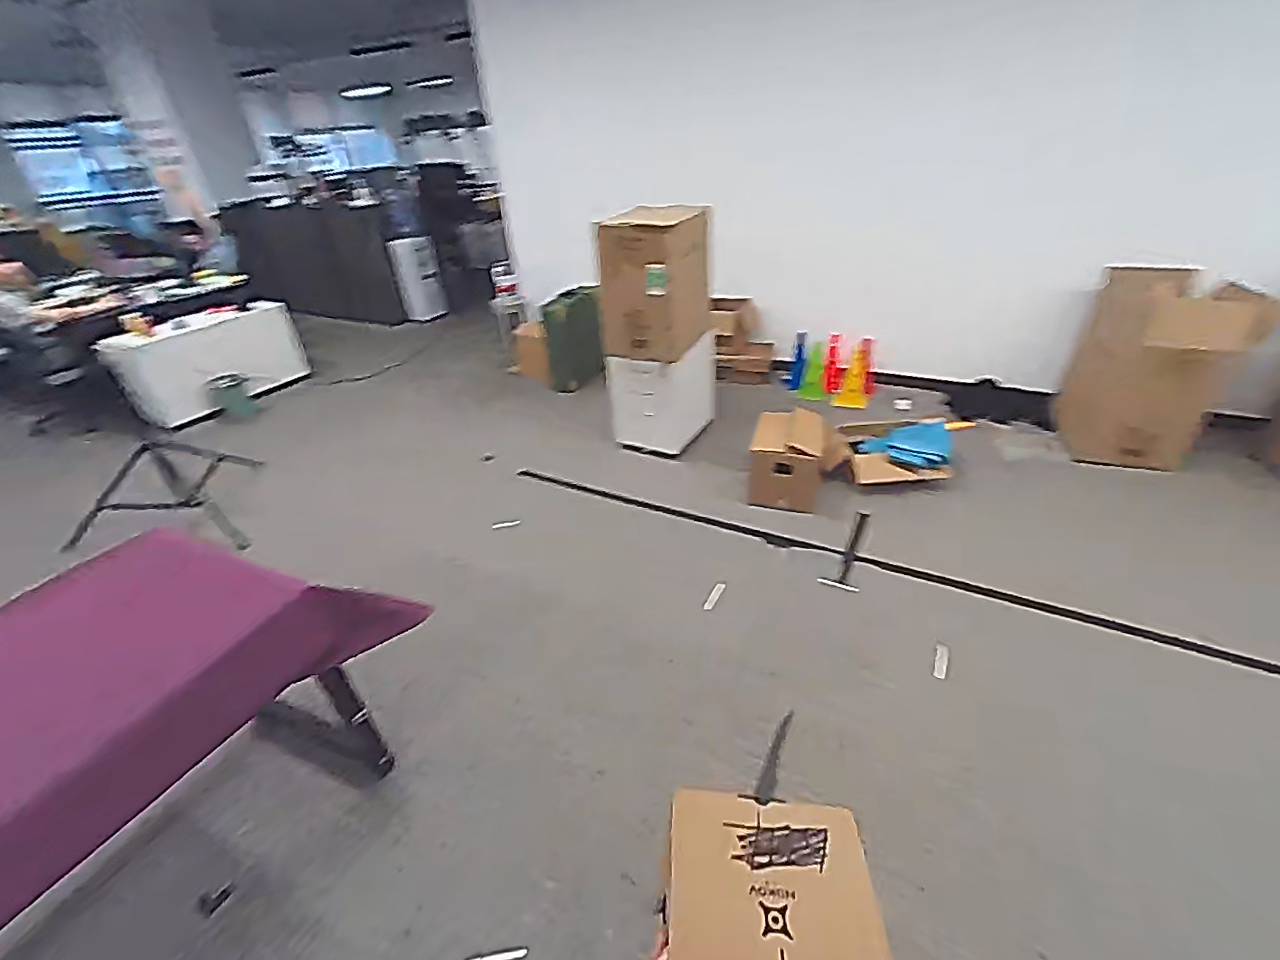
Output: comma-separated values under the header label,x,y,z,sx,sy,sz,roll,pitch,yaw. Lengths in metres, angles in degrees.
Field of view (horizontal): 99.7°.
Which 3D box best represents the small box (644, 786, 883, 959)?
label,x,y,z,sx,sy,sz,roll,pitch,yaw
small box,0.090,0.400,0.454,0.168,0.176,0.179,6,25,1
